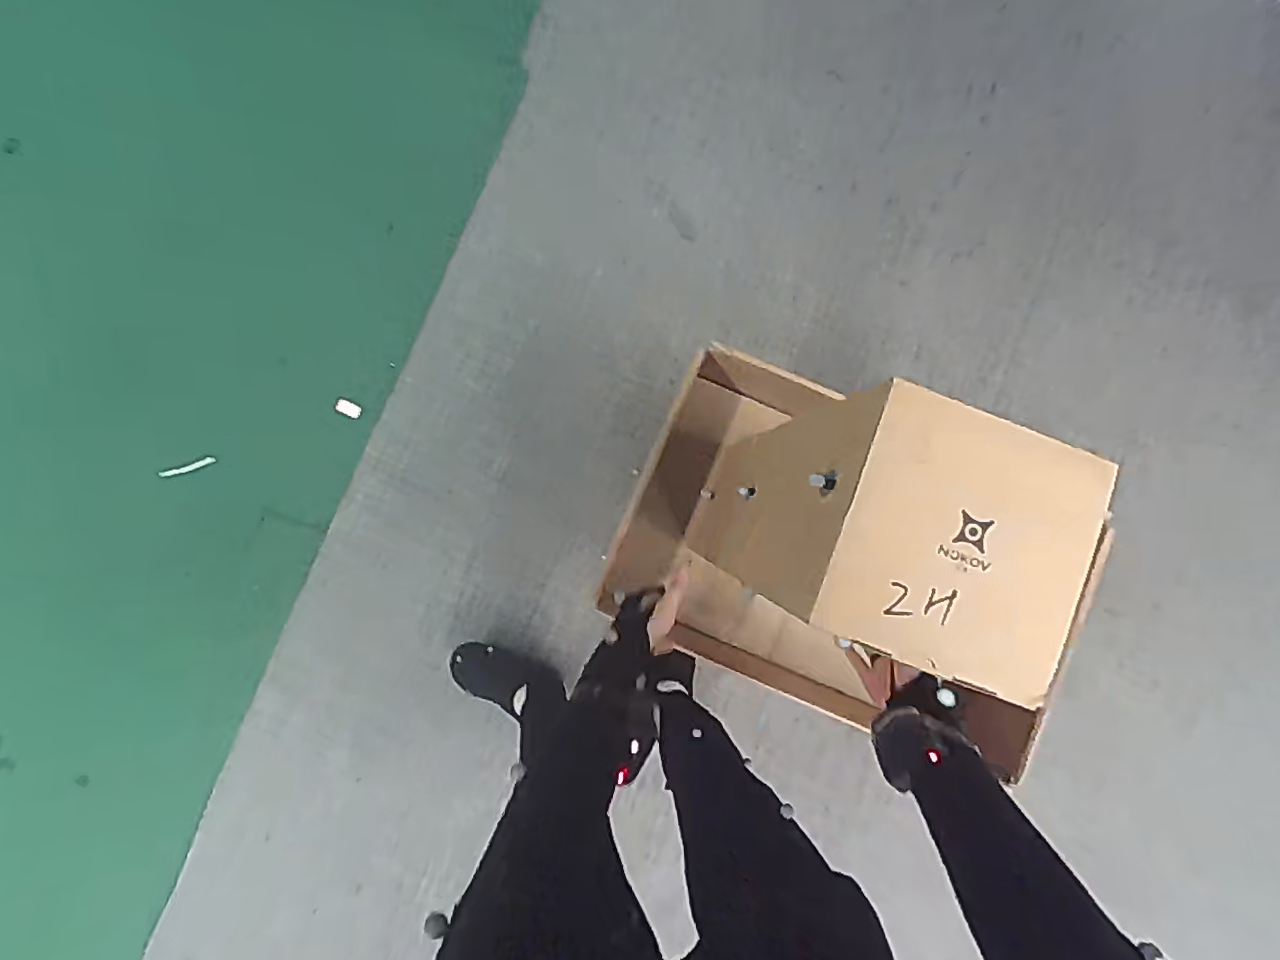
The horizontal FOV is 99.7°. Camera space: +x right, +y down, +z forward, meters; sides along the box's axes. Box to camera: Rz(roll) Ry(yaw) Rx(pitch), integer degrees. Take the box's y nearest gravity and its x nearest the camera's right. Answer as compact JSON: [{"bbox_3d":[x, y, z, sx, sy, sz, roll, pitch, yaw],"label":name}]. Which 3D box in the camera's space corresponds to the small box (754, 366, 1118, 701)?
[{"bbox_3d":[0.207,0.037,0.430,0.168,0.176,0.179,21,87,-1],"label":"small box"}]

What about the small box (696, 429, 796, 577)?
[{"bbox_3d":[0.188,0.047,0.759,0.168,0.176,0.179,22,88,-3],"label":"small box"}]
